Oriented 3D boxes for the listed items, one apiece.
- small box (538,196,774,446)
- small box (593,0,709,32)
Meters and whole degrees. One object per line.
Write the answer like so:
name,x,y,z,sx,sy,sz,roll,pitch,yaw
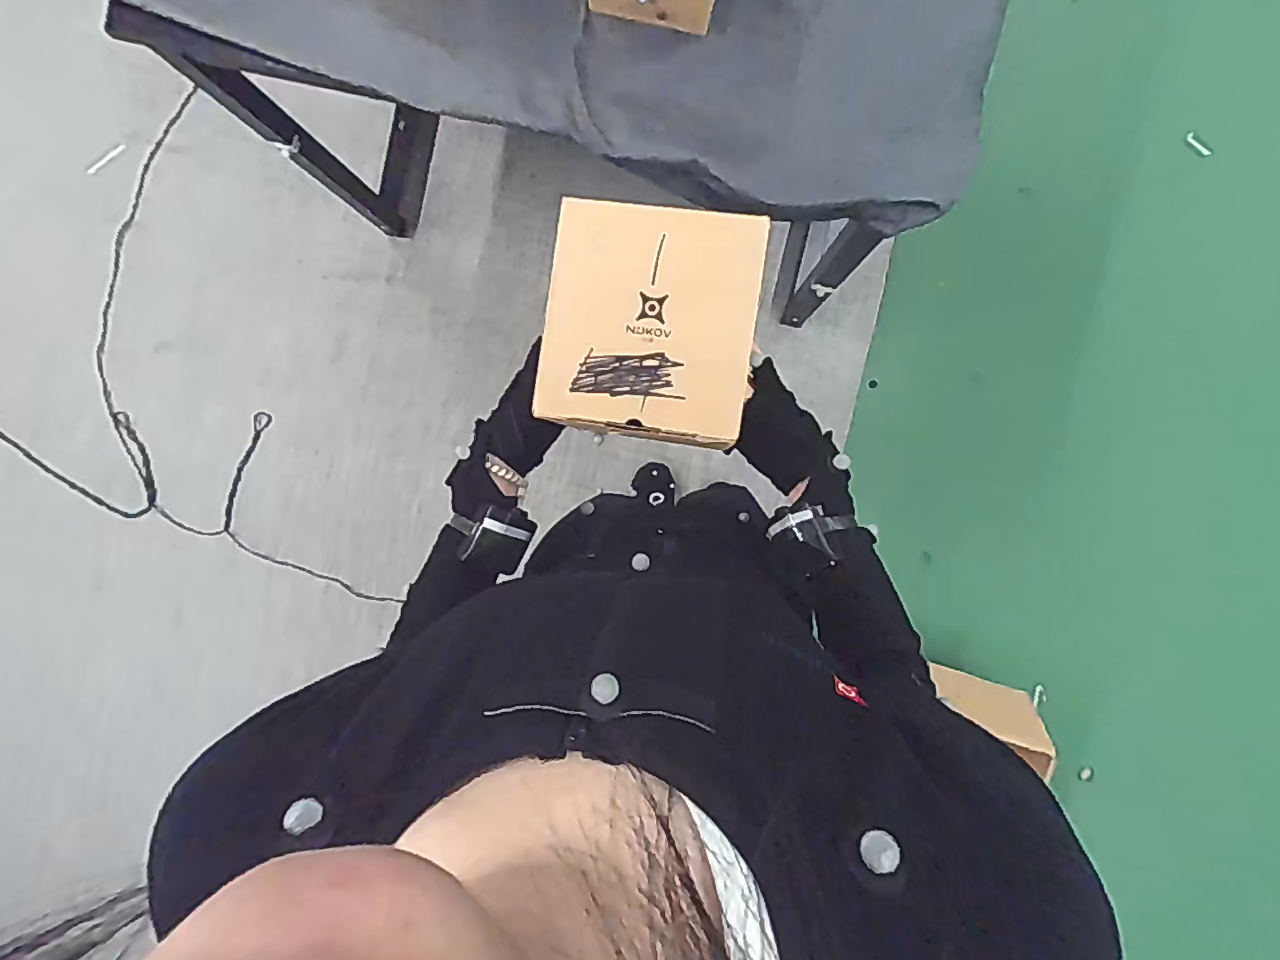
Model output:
small box,0.017,-0.129,0.503,0.168,0.176,0.179,9,92,4
small box,0.023,-0.705,0.650,0.168,0.176,0.179,15,93,2
